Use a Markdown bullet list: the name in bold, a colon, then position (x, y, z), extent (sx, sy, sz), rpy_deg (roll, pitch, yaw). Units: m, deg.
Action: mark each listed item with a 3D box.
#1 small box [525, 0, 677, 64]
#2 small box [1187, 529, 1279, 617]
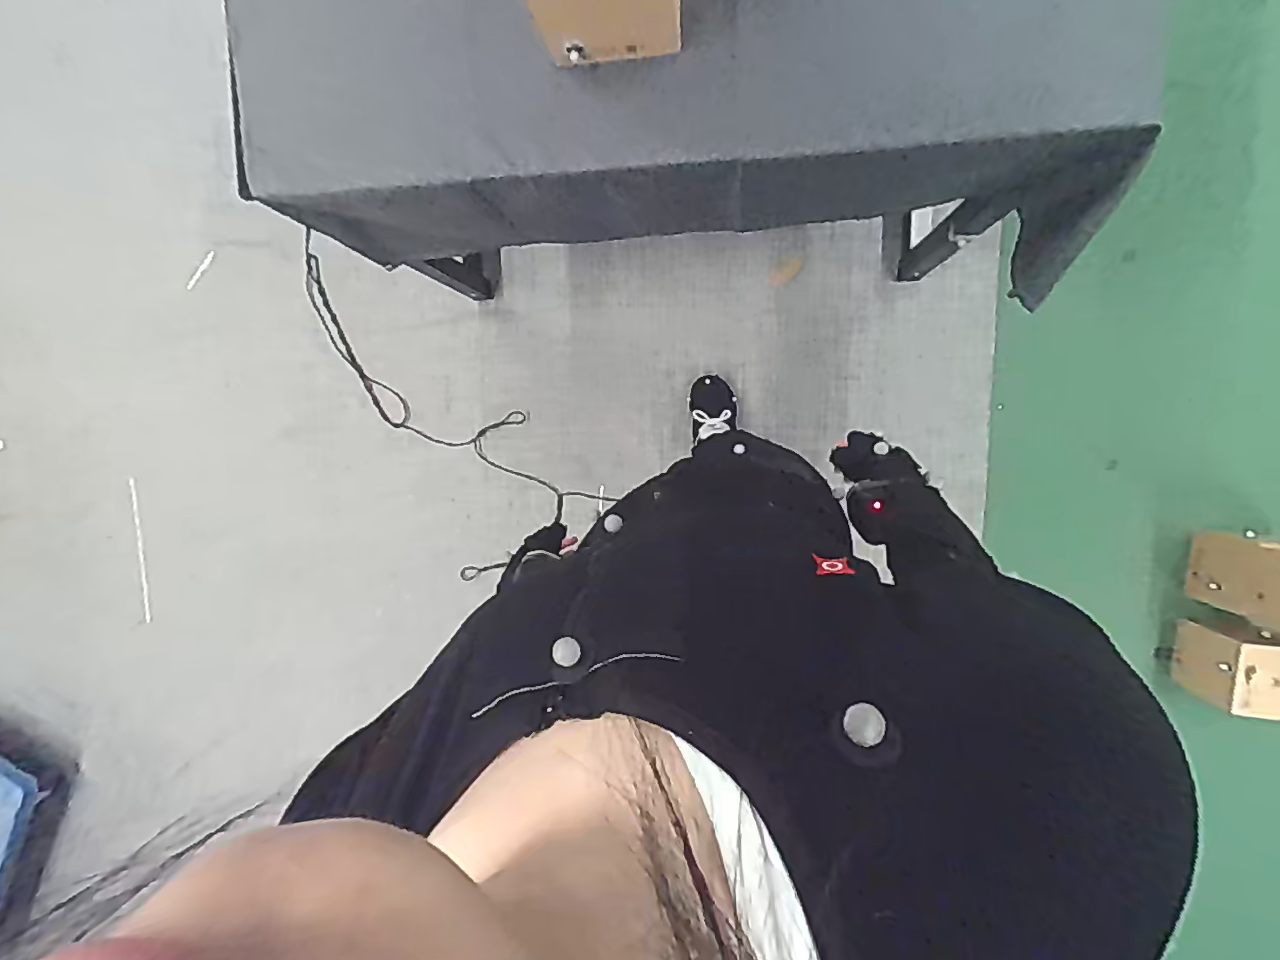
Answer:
- **small box**: position (-0.046, -0.623, 0.625), extent (0.168, 0.176, 0.179), rpy_deg (-1, 94, 8)
- **small box**: position (1.408, 0.209, 1.221), extent (0.179, 0.176, 0.168), rpy_deg (5, 96, 8)
